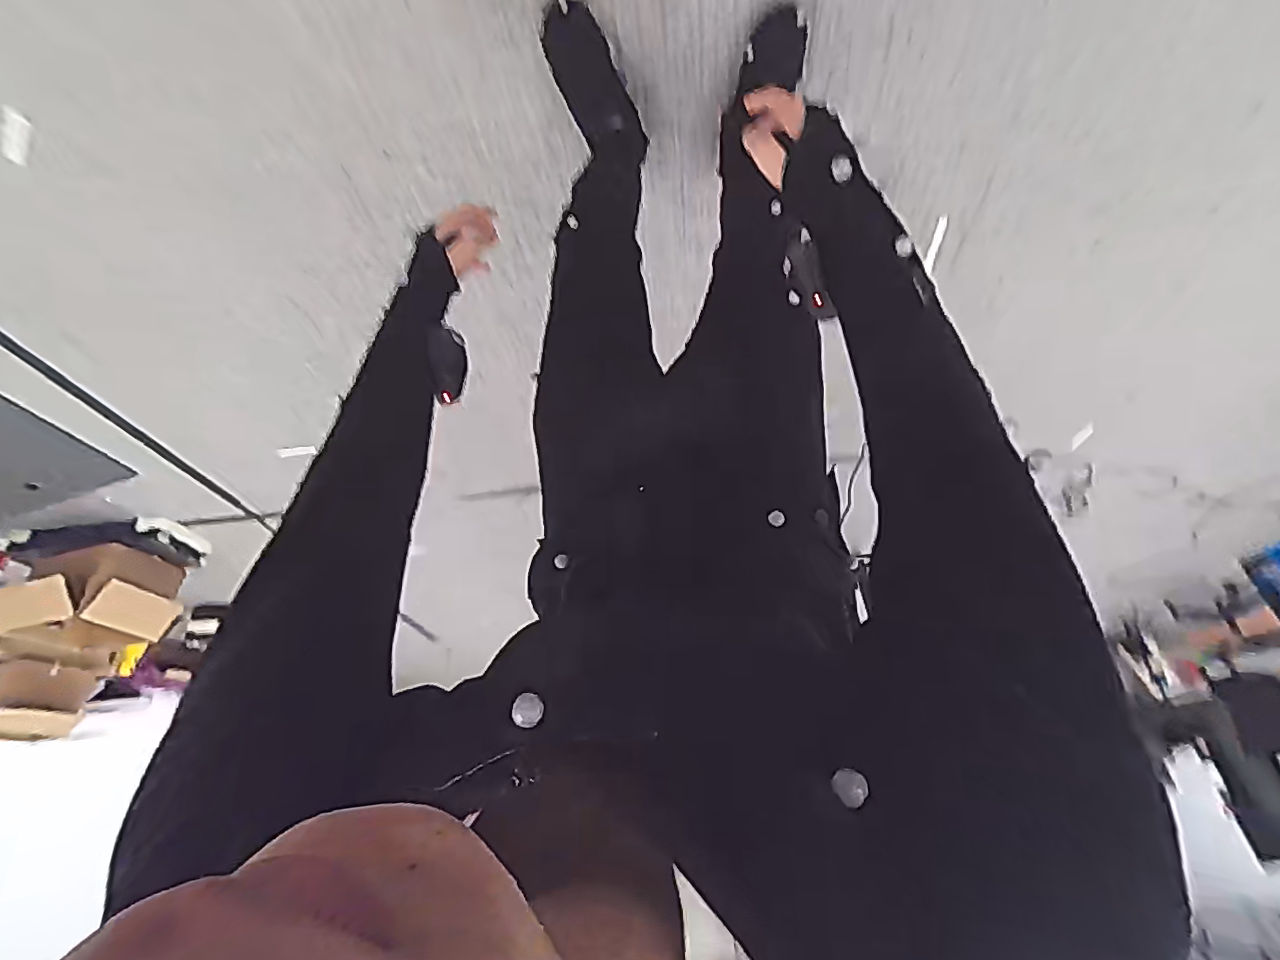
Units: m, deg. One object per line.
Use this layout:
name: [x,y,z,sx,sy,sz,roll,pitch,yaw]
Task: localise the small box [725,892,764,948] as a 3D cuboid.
small box: [0.469,1.925,2.371,0.168,0.176,0.179,-6,148,2]
